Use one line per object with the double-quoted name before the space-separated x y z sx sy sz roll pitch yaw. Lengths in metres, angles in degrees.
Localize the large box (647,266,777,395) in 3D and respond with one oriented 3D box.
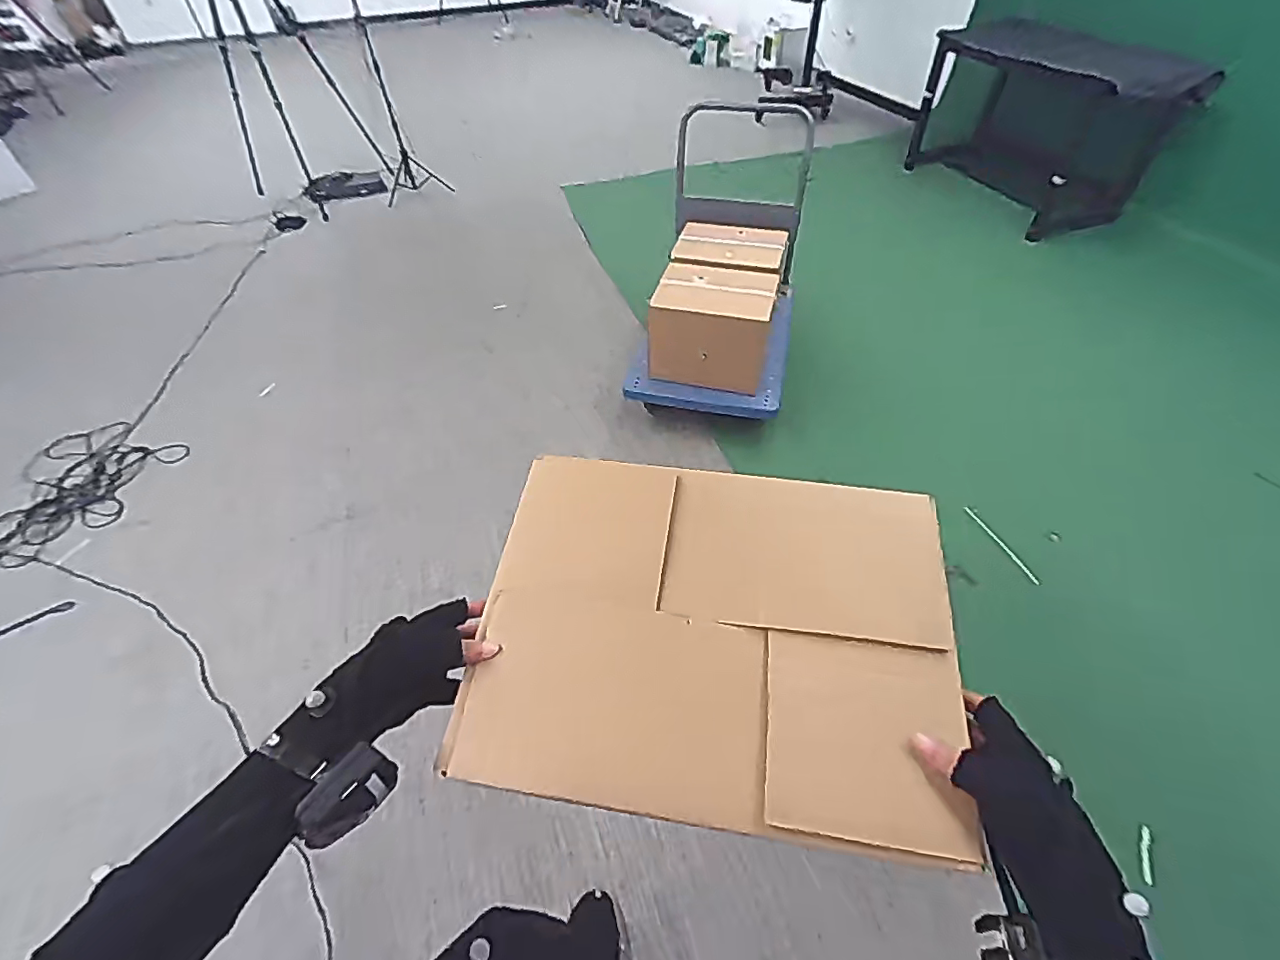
"large box" 0.261 -0.542 1.964 0.408 0.320 0.320 11 50 13
